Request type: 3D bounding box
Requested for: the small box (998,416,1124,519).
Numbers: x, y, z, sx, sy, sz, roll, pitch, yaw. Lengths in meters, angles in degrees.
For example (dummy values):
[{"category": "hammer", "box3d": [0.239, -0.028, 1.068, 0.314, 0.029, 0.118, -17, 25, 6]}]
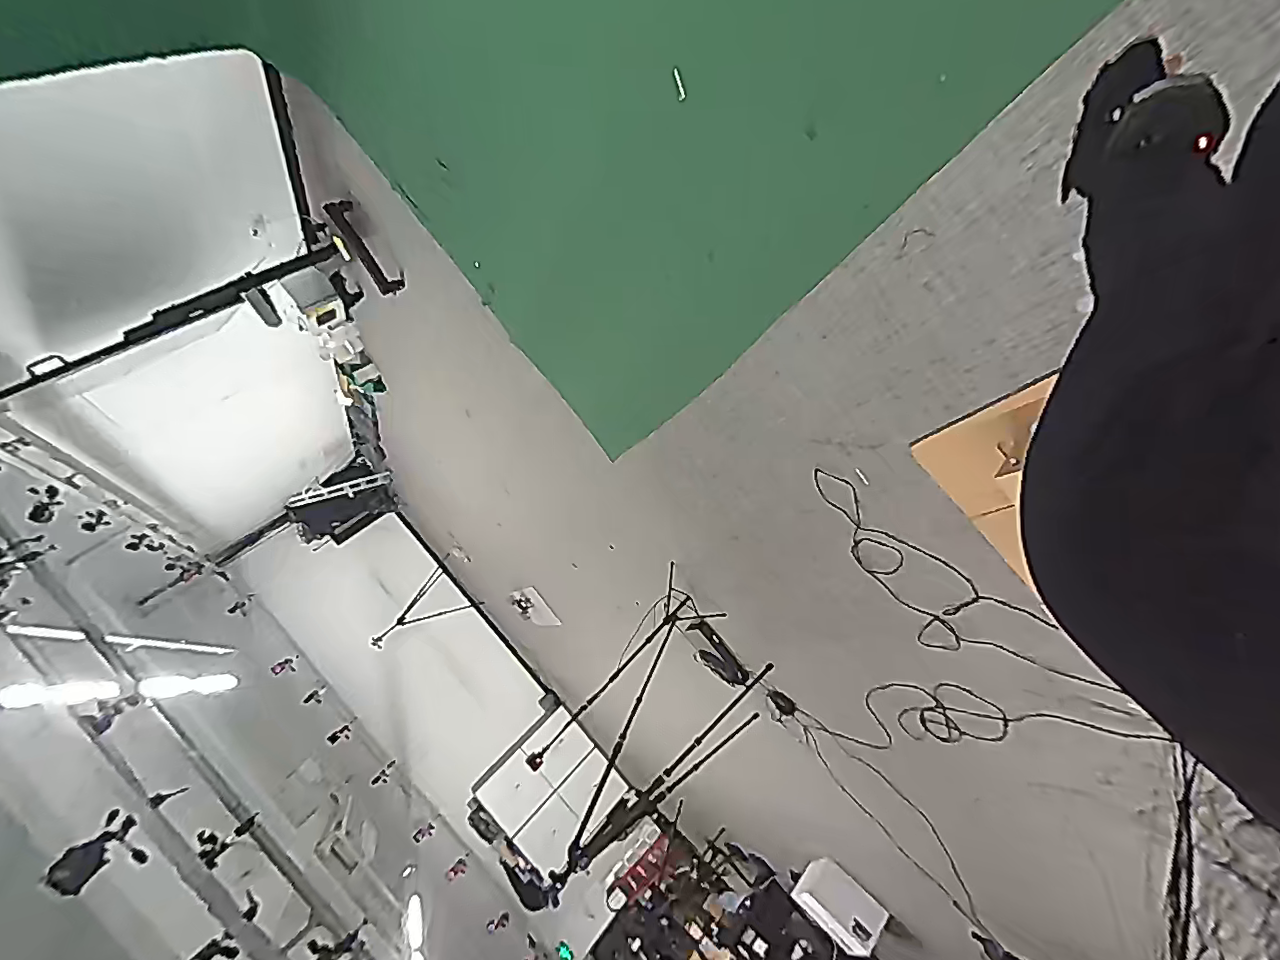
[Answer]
[{"category": "small box", "box3d": [1.055, -0.030, 1.354, 0.168, 0.176, 0.179, 50, 150, -3]}]
